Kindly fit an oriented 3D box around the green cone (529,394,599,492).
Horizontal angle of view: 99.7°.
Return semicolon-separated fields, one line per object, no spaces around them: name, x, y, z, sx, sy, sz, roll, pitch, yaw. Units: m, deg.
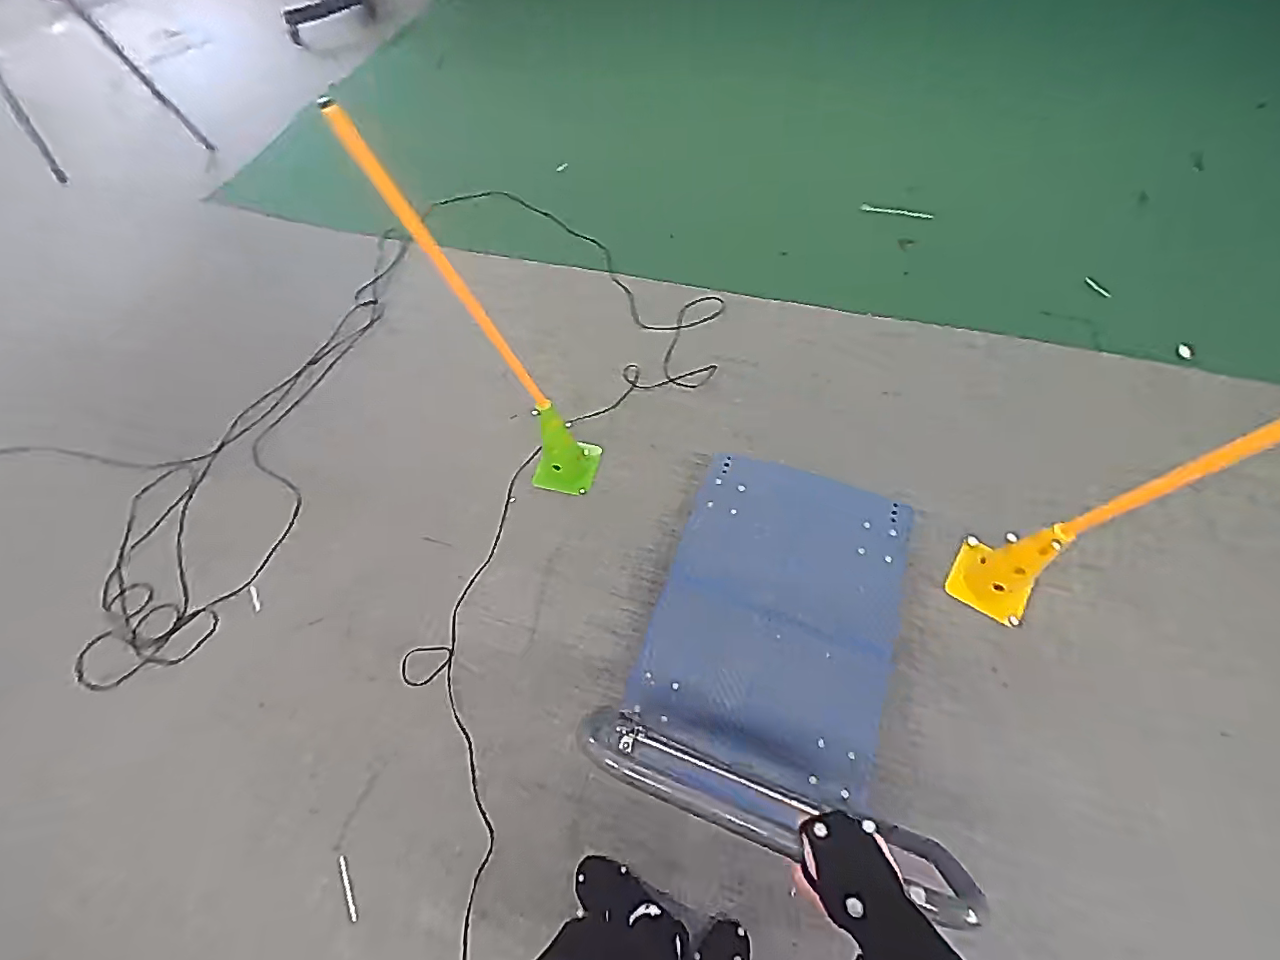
green cone;-0.271;-0.143;1.685;0.202;0.368;0.200;9;62;12
